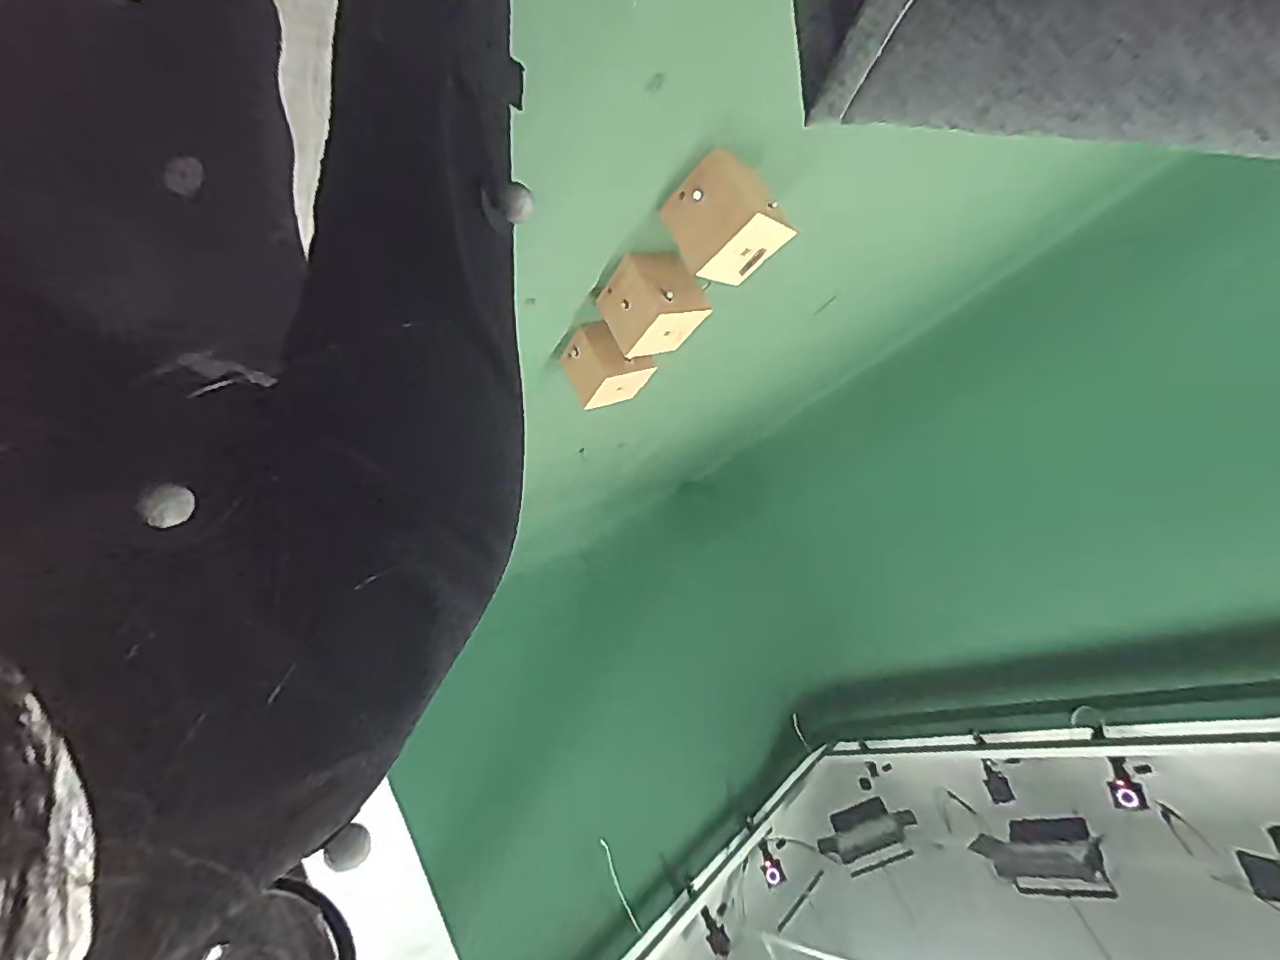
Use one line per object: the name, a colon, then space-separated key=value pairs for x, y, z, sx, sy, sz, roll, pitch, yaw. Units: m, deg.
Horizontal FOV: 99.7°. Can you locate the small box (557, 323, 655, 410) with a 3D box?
small box: x=-0.096 y=-0.318 z=1.478 sx=0.179 sy=0.176 sz=0.168 roll=-21 pitch=168 yaw=-36

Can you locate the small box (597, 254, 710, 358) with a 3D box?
small box: x=0.026 y=-0.416 z=1.286 sx=0.179 sy=0.176 sz=0.168 roll=-20 pitch=168 yaw=-39

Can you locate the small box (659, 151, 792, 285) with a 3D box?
small box: x=0.174 y=-0.530 z=1.106 sx=0.168 sy=0.176 sz=0.179 roll=-36 pitch=166 yaw=37
